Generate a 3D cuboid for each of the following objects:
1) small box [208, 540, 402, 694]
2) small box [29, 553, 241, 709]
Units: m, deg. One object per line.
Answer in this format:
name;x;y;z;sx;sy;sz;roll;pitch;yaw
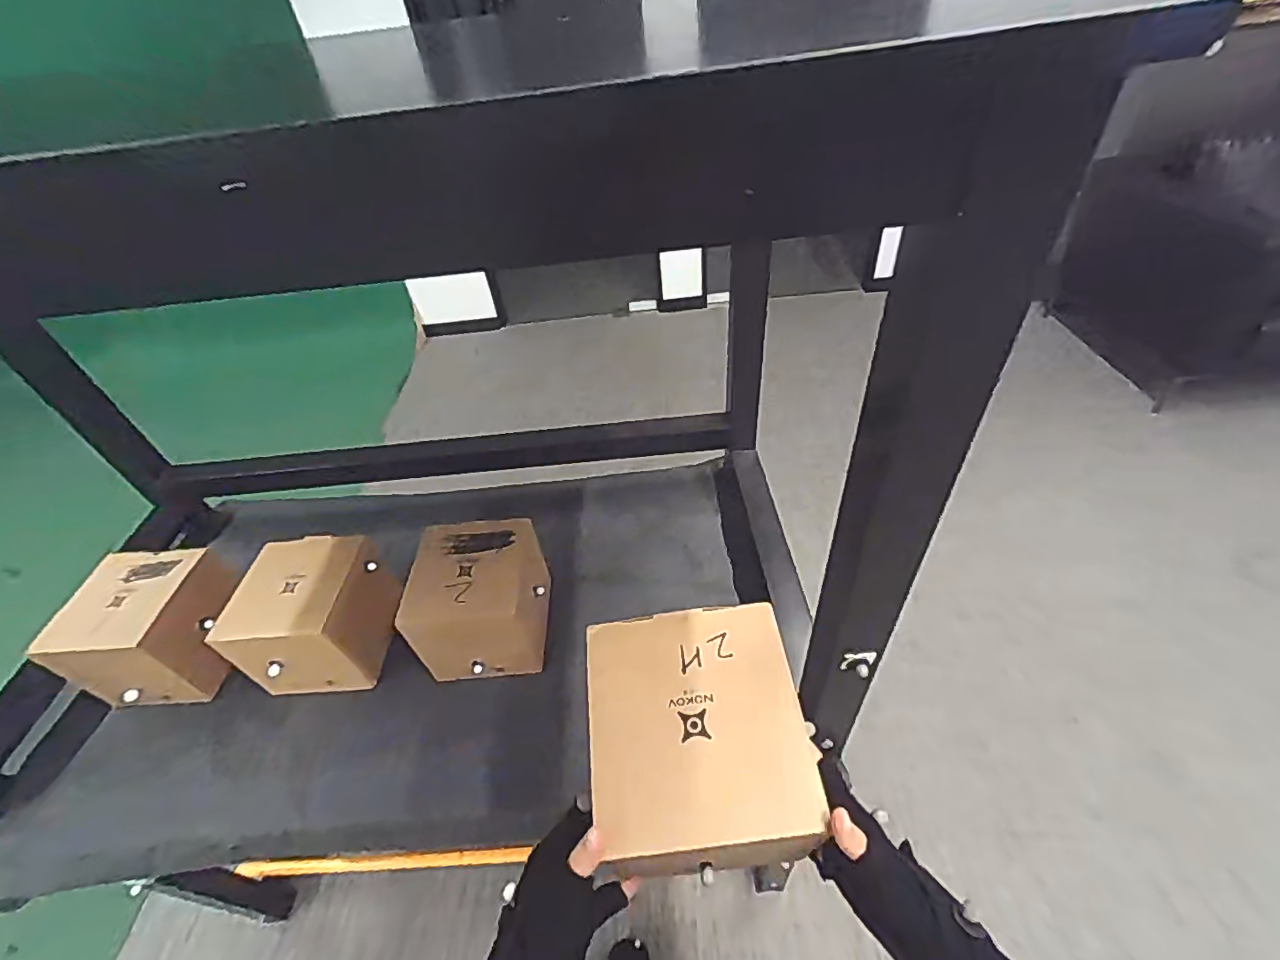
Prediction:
small box;-0.498;0.217;0.840;0.168;0.176;0.179;-4;43;3
small box;-0.750;0.237;0.849;0.168;0.176;0.179;-4;43;3
